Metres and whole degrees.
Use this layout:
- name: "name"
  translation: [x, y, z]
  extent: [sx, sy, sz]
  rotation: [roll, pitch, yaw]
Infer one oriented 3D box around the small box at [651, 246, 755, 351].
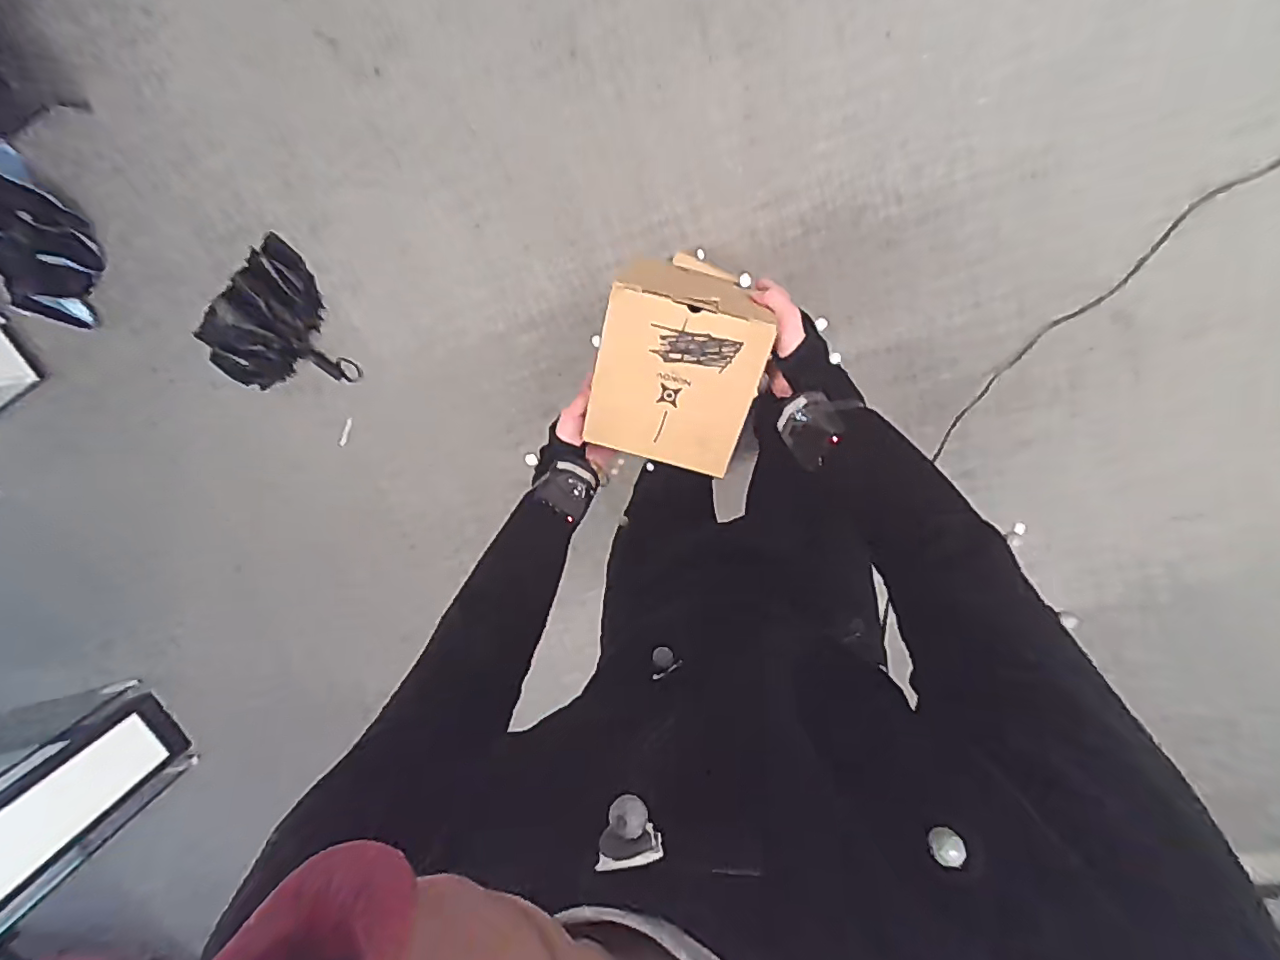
- name: "small box"
  translation: [0.144, -0.410, 1.218]
  extent: [0.179, 0.176, 0.168]
  rotation: [23, 116, 1]
